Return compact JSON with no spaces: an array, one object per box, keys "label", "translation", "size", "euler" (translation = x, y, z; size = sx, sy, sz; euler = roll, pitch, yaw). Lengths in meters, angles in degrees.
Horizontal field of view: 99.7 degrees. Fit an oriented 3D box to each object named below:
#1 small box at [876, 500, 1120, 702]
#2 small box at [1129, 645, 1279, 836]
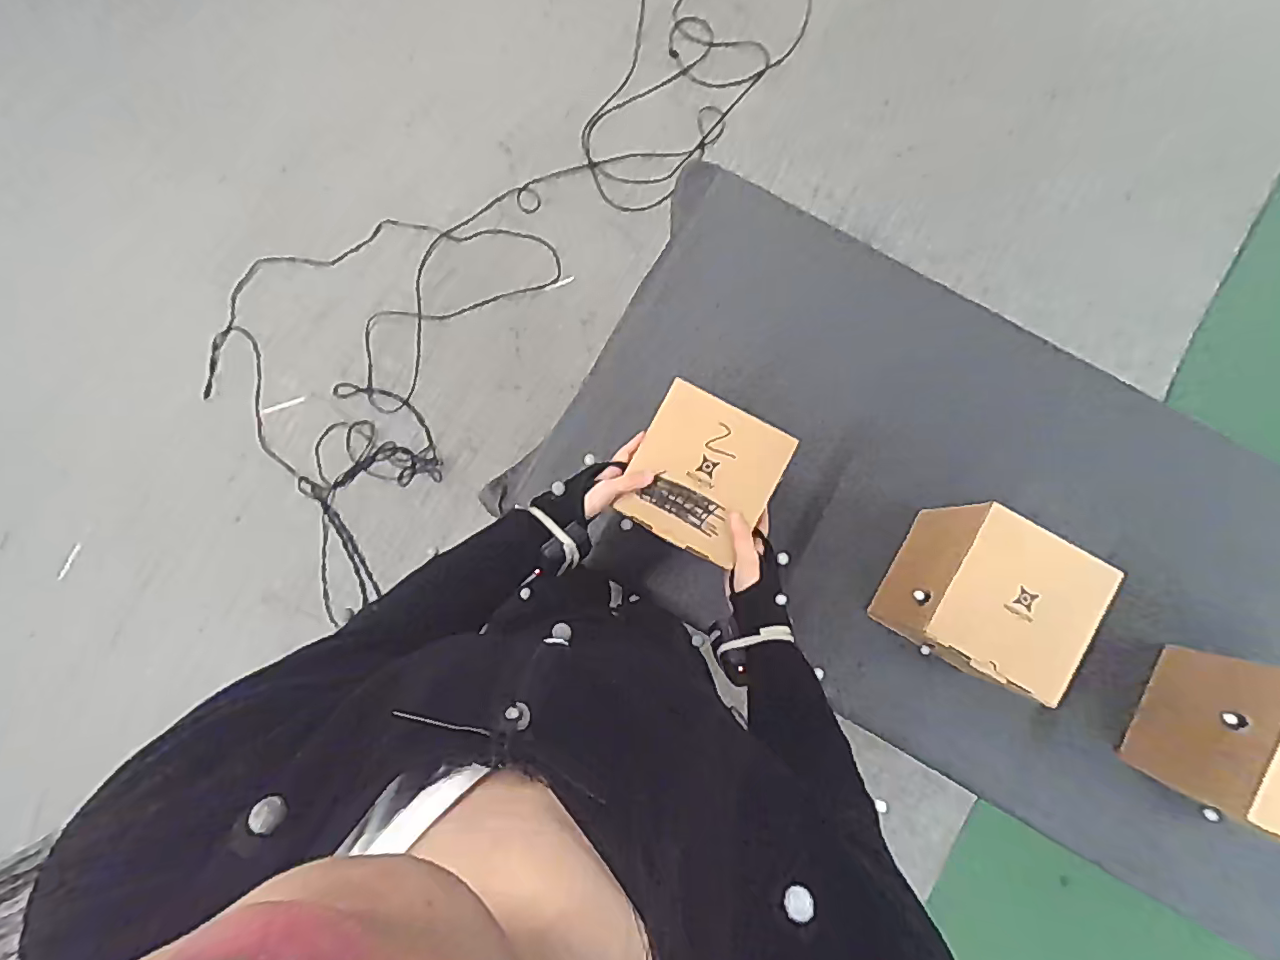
[{"label":"small box","translation":[0.436,0.142,0.693],"size":[0.168,0.176,0.179],"euler":[30,87,4]},{"label":"small box","translation":[0.765,0.326,0.659],"size":[0.168,0.176,0.179],"euler":[28,87,5]}]
